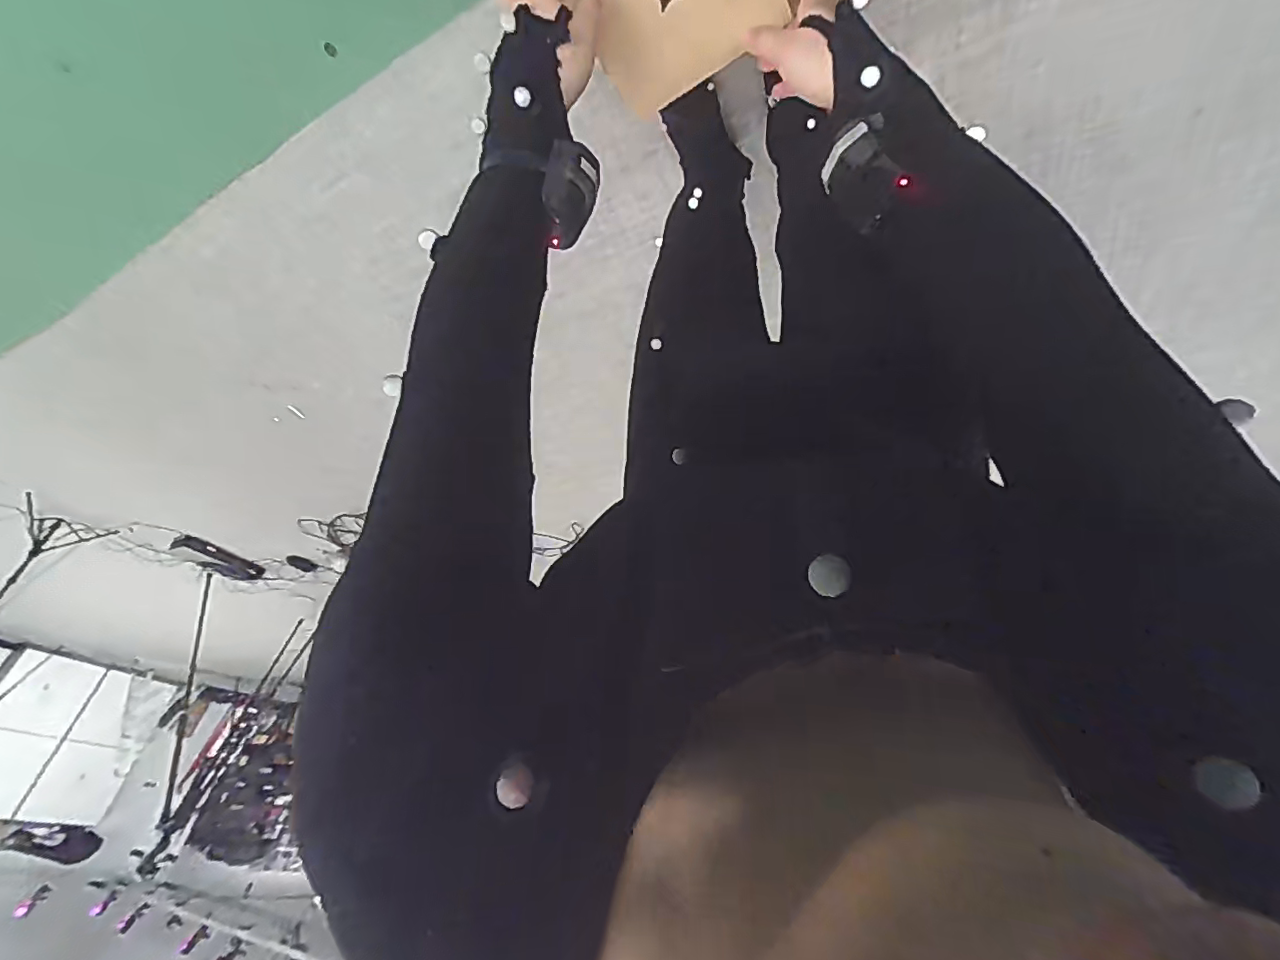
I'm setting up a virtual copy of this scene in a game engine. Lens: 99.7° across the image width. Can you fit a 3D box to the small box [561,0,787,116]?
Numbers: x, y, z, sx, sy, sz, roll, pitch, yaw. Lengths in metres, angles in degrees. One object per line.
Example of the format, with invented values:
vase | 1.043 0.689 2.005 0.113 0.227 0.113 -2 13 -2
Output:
small box | 0.020 -0.490 0.481 0.168 0.176 0.179 -15 148 31
